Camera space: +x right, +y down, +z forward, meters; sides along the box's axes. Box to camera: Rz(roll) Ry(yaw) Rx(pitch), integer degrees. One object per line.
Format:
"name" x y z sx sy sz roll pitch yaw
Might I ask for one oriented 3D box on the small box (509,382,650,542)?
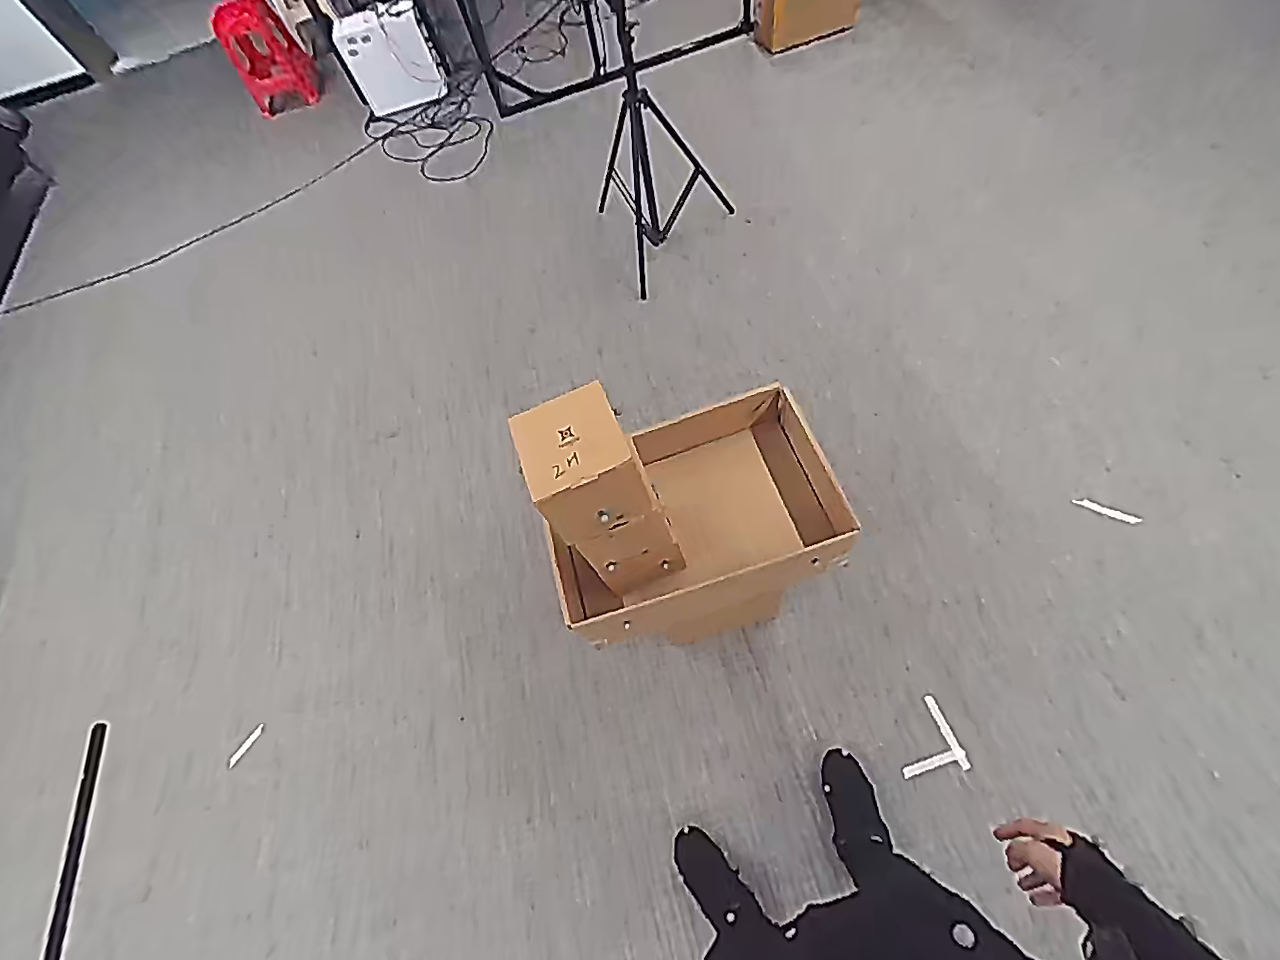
"small box" -0.098 -0.025 0.908 0.168 0.176 0.179 -24 59 0

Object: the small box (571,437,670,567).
"small box" -0.052 0.053 1.047 0.168 0.176 0.179 -22 59 0

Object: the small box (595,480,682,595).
"small box" -0.016 0.130 1.187 0.179 0.176 0.168 -24 60 0
